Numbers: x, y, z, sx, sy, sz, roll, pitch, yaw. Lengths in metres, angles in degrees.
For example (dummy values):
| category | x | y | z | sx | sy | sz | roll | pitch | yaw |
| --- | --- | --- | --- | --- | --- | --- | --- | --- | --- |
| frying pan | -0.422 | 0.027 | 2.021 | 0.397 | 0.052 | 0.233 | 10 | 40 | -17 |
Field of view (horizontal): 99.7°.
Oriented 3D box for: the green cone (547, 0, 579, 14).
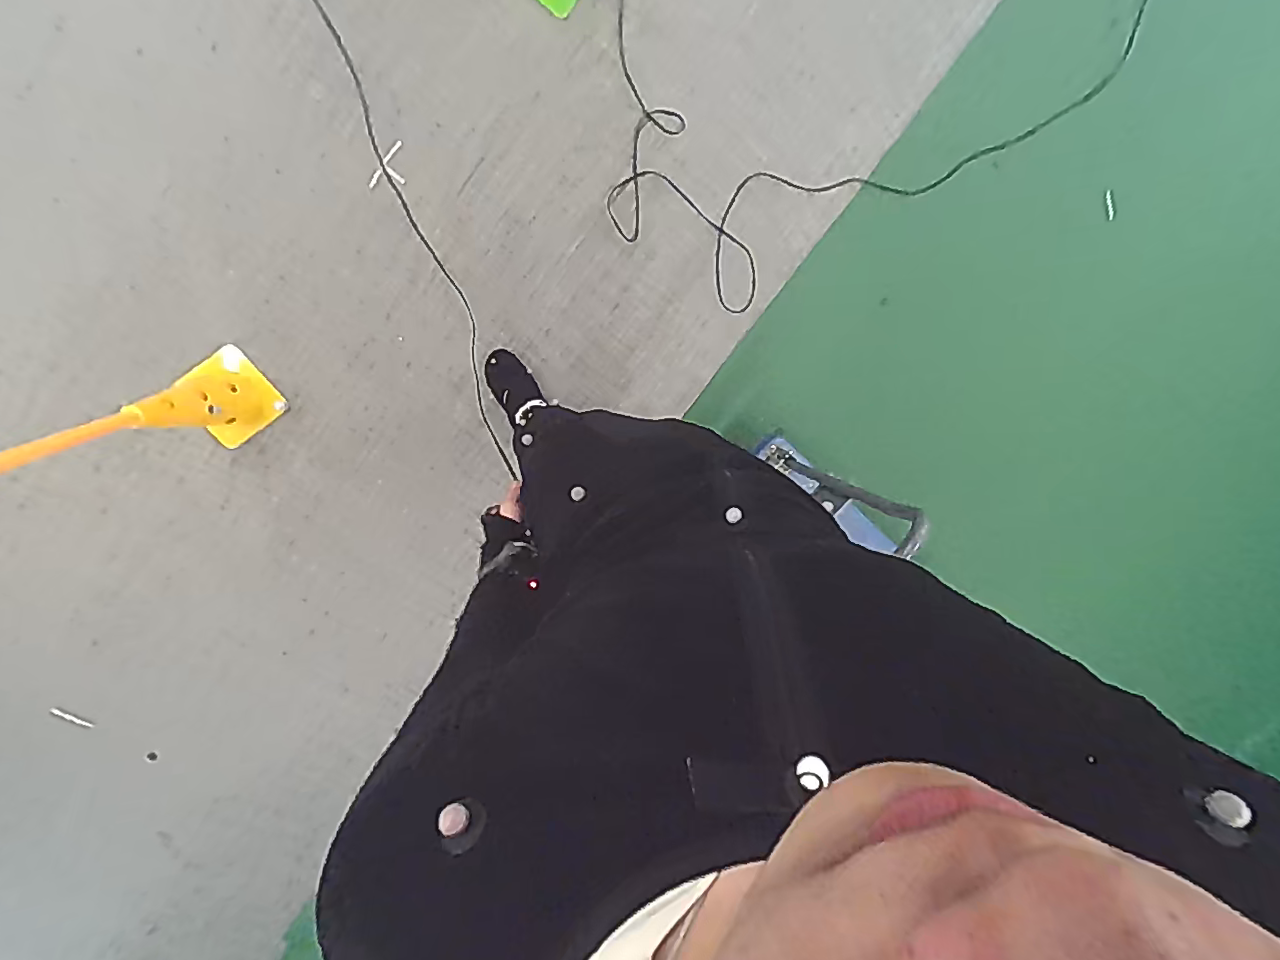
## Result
| category | x | y | z | sx | sy | sz | roll | pitch | yaw |
| --- | --- | --- | --- | --- | --- | --- | --- | --- | --- |
| green cone | -0.166 | -1.194 | 1.091 | 0.200 | 0.368 | 0.202 | 32 | 95 | -16 |
